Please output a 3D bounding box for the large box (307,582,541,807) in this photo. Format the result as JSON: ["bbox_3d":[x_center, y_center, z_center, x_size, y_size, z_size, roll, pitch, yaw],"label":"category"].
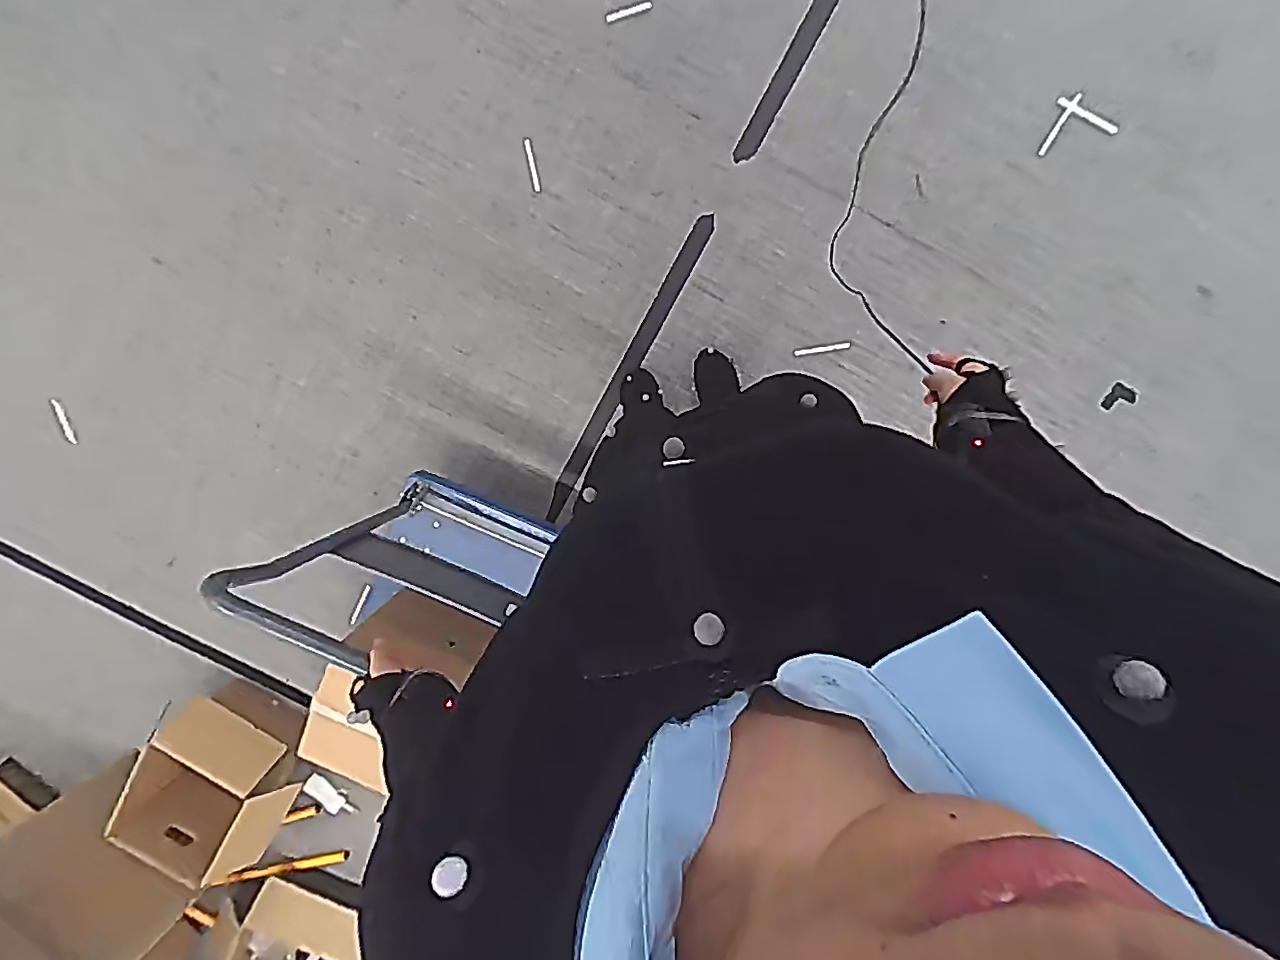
[{"bbox_3d":[-0.515,0.513,1.351,0.408,0.320,0.320,25,105,-3],"label":"large box"}]
